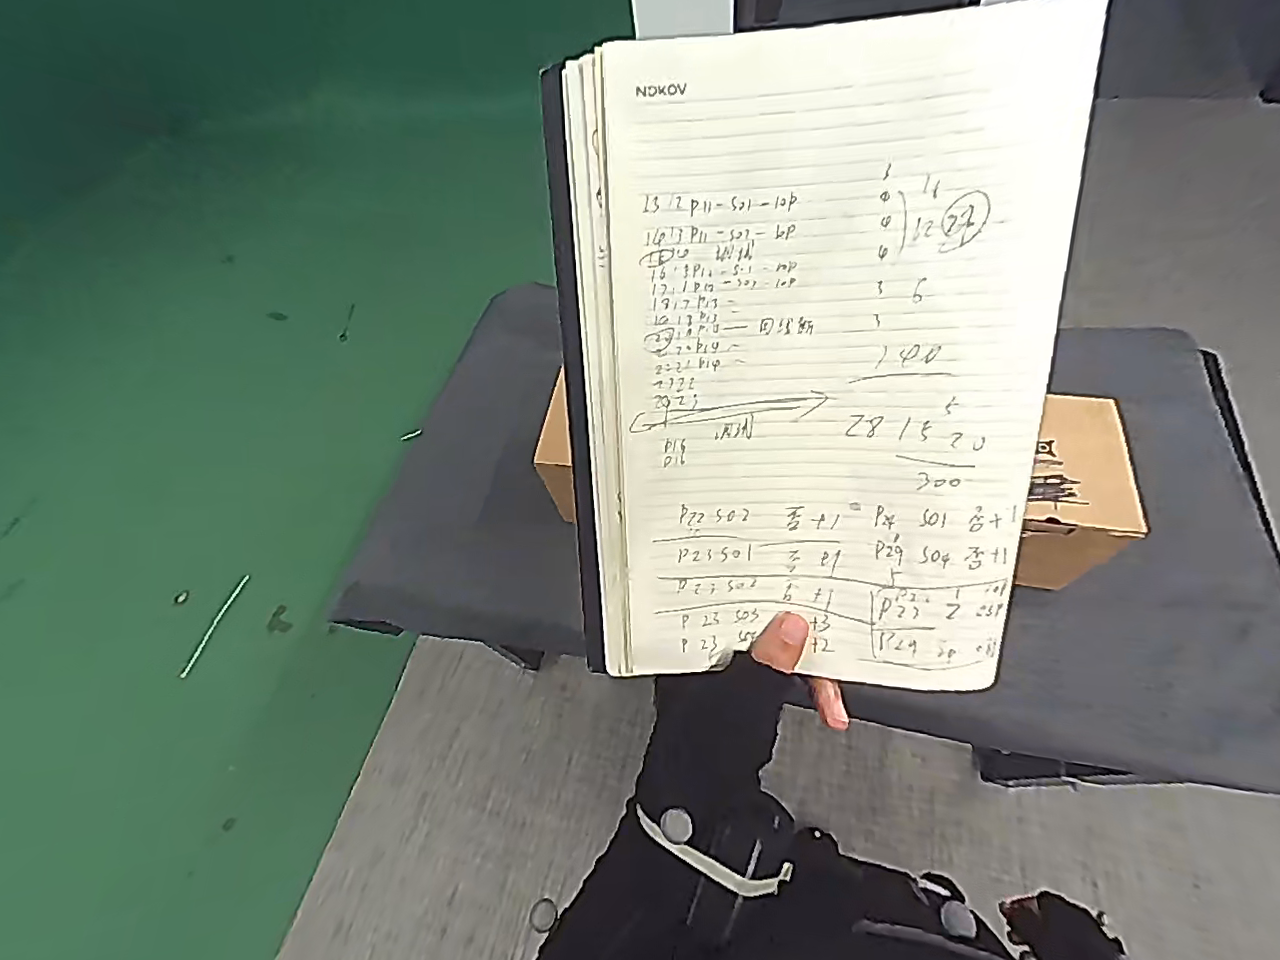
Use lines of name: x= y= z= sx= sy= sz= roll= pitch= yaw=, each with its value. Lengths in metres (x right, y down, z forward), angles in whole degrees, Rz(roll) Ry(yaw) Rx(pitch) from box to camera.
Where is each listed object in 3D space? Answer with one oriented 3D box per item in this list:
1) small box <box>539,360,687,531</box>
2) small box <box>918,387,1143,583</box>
small box: x=-0.025 y=-0.048 z=0.774 sx=0.168 sy=0.176 sz=0.179 roll=4 pitch=60 yaw=12
small box: x=0.456 y=0.011 z=0.665 sx=0.168 sy=0.176 sz=0.179 roll=8 pitch=60 yaw=13
